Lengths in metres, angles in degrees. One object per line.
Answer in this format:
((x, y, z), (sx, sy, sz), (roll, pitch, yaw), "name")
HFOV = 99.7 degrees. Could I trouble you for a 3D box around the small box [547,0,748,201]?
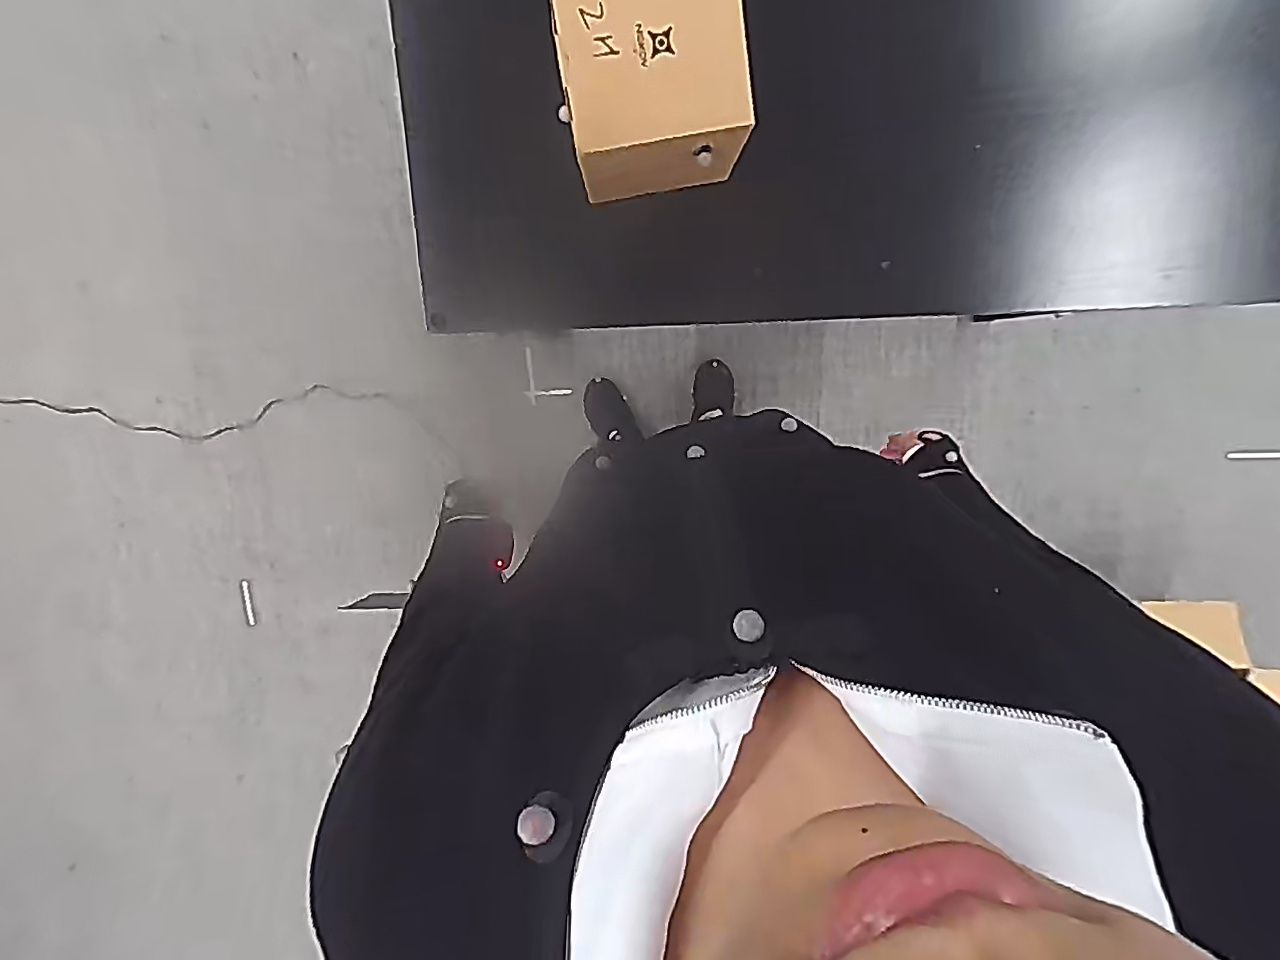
((0.007, -0.423, 0.585), (0.179, 0.176, 0.168), (-9, 102, 2), "small box")
